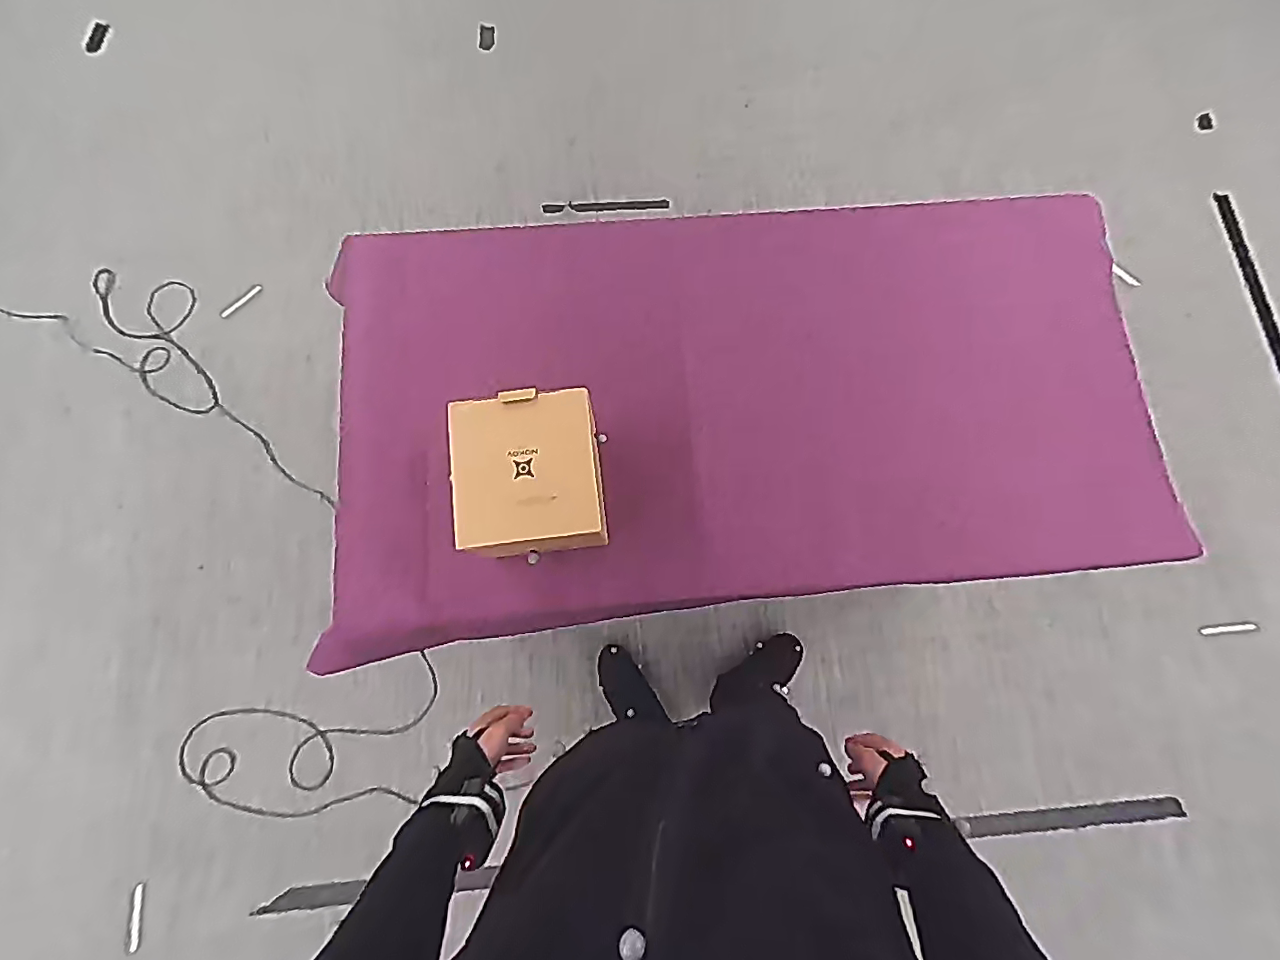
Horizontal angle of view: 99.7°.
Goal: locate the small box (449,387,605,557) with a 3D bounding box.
[{"bbox_3d":[-0.136,-0.001,0.690,0.168,0.176,0.179,-6,78,-2],"label":"small box"}]
